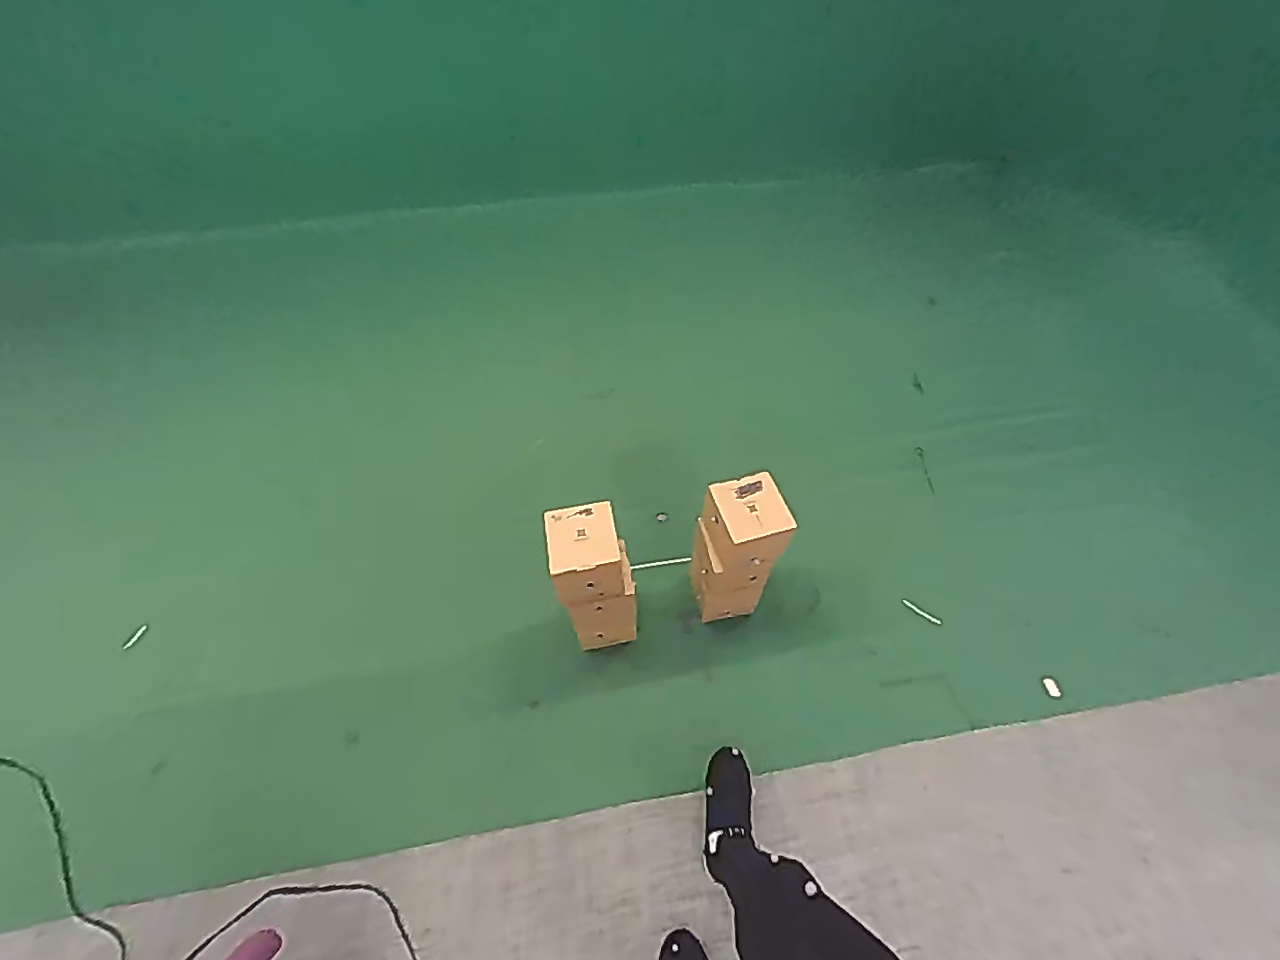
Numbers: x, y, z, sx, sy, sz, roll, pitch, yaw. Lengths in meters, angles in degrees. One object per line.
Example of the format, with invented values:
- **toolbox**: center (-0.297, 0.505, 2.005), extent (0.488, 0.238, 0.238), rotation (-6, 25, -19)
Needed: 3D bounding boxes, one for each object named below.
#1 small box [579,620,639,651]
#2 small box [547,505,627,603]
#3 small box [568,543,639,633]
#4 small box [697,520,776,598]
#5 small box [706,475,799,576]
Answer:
- **small box**: center (-0.098, 0.390, 1.592), extent (0.168, 0.176, 0.179), rotation (-10, 53, -6)
- **small box**: center (-0.129, 0.189, 1.333), extent (0.168, 0.176, 0.179), rotation (-10, 54, -5)
- **small box**: center (-0.103, 0.296, 1.457), extent (0.179, 0.176, 0.168), rotation (-10, 54, -6)
- **small box**: center (0.262, 0.216, 1.509), extent (0.168, 0.176, 0.179), rotation (-9, 54, -7)
- **small box**: center (0.277, 0.118, 1.379), extent (0.168, 0.176, 0.179), rotation (-14, 57, -10)
